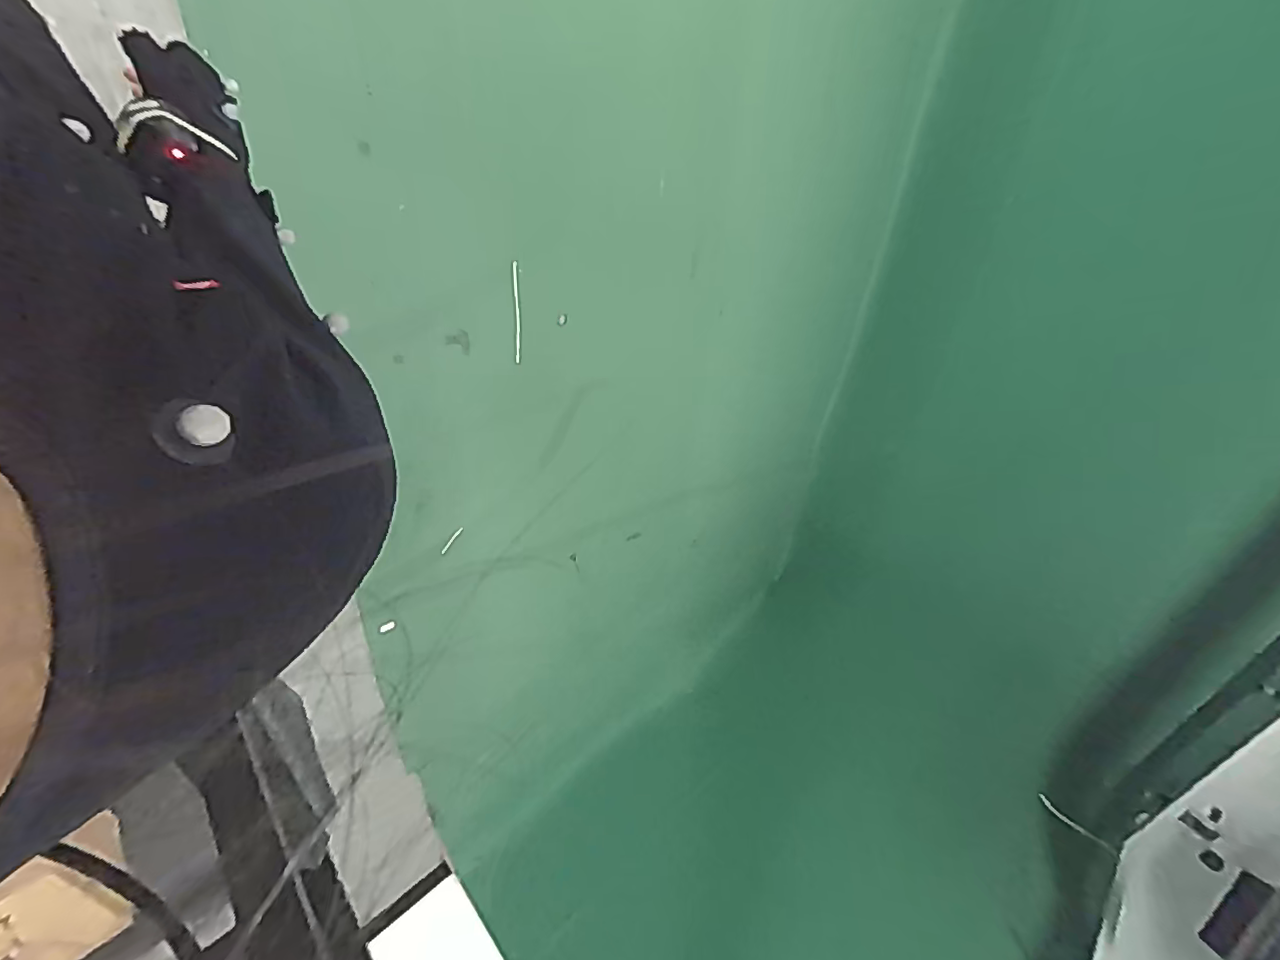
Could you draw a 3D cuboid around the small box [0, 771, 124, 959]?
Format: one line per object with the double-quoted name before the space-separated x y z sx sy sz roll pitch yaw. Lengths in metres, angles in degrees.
"small box" -0.753 0.485 0.628 0.168 0.176 0.179 -28 136 -35
